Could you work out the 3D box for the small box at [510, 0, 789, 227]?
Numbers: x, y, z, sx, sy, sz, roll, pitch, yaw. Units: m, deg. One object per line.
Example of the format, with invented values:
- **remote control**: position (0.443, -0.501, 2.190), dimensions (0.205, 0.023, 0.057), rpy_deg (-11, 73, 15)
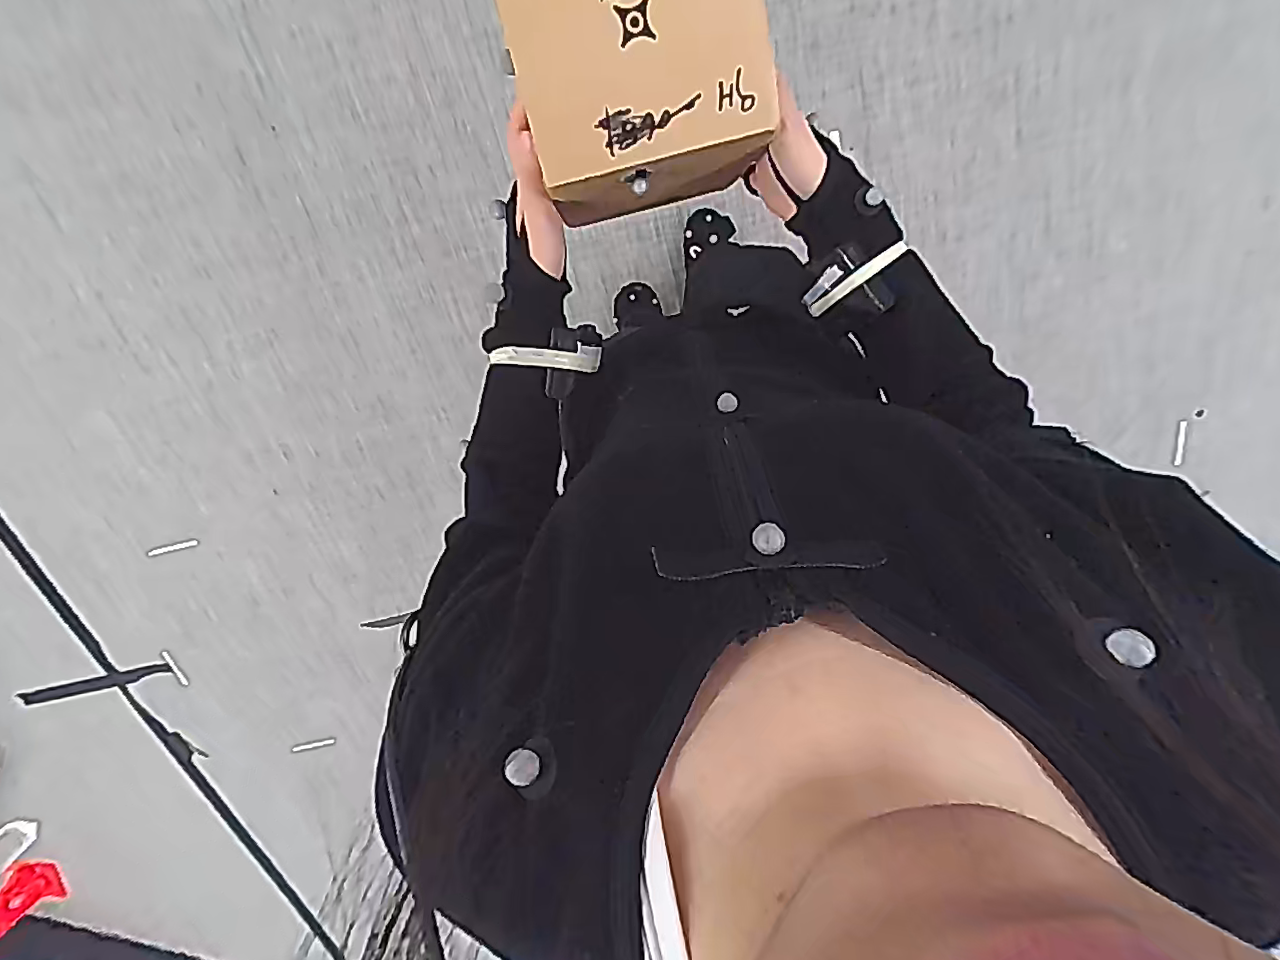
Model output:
- **small box**: position (-0.003, -0.317, 0.415), dimensions (0.168, 0.176, 0.179), rpy_deg (-14, 106, 1)
